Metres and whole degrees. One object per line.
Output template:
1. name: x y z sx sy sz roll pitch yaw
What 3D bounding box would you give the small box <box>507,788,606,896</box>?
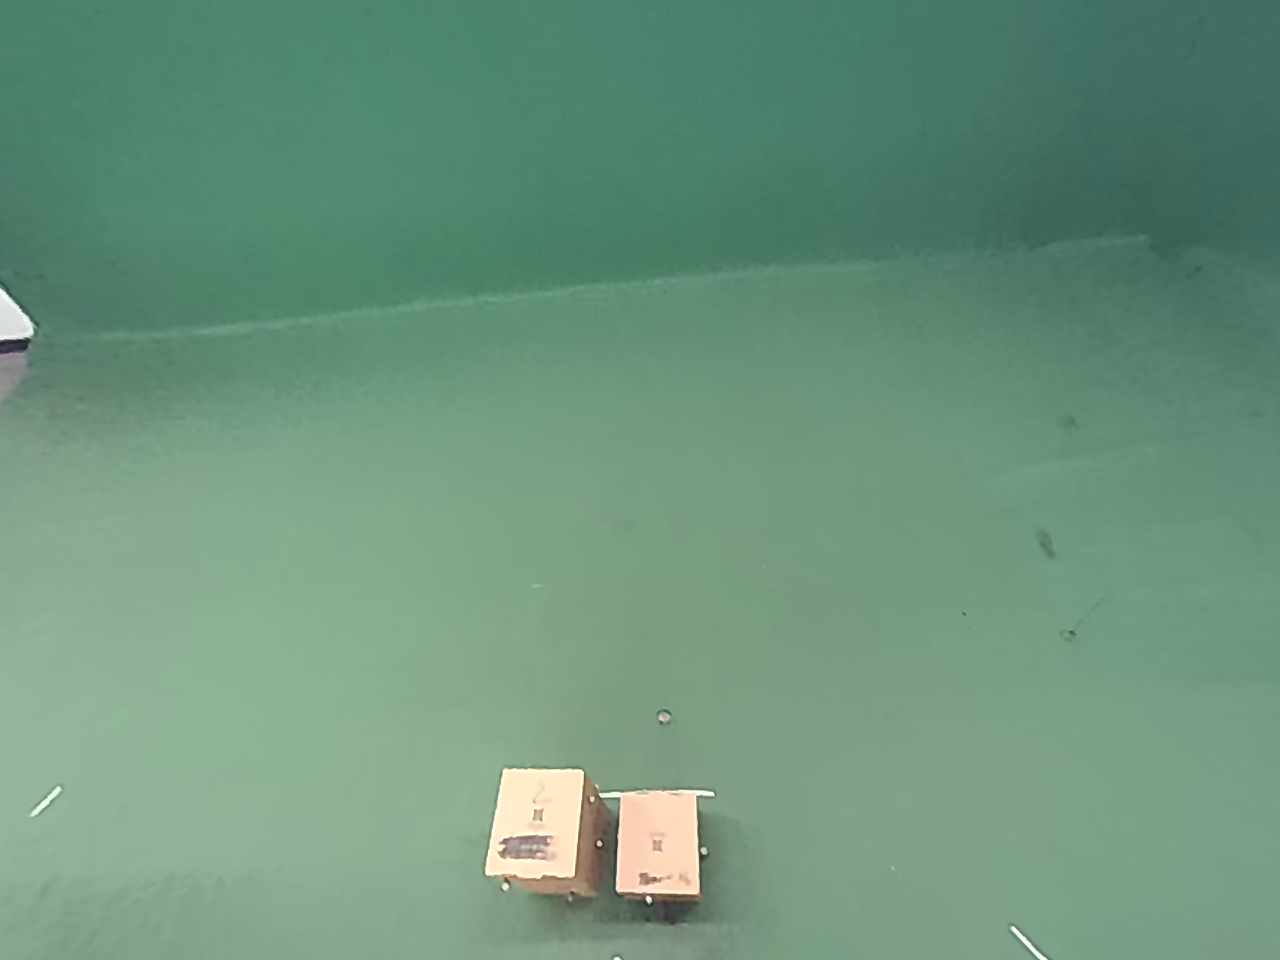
1. small box: -0.174 0.802 1.194 0.168 0.176 0.179 -1 48 7
